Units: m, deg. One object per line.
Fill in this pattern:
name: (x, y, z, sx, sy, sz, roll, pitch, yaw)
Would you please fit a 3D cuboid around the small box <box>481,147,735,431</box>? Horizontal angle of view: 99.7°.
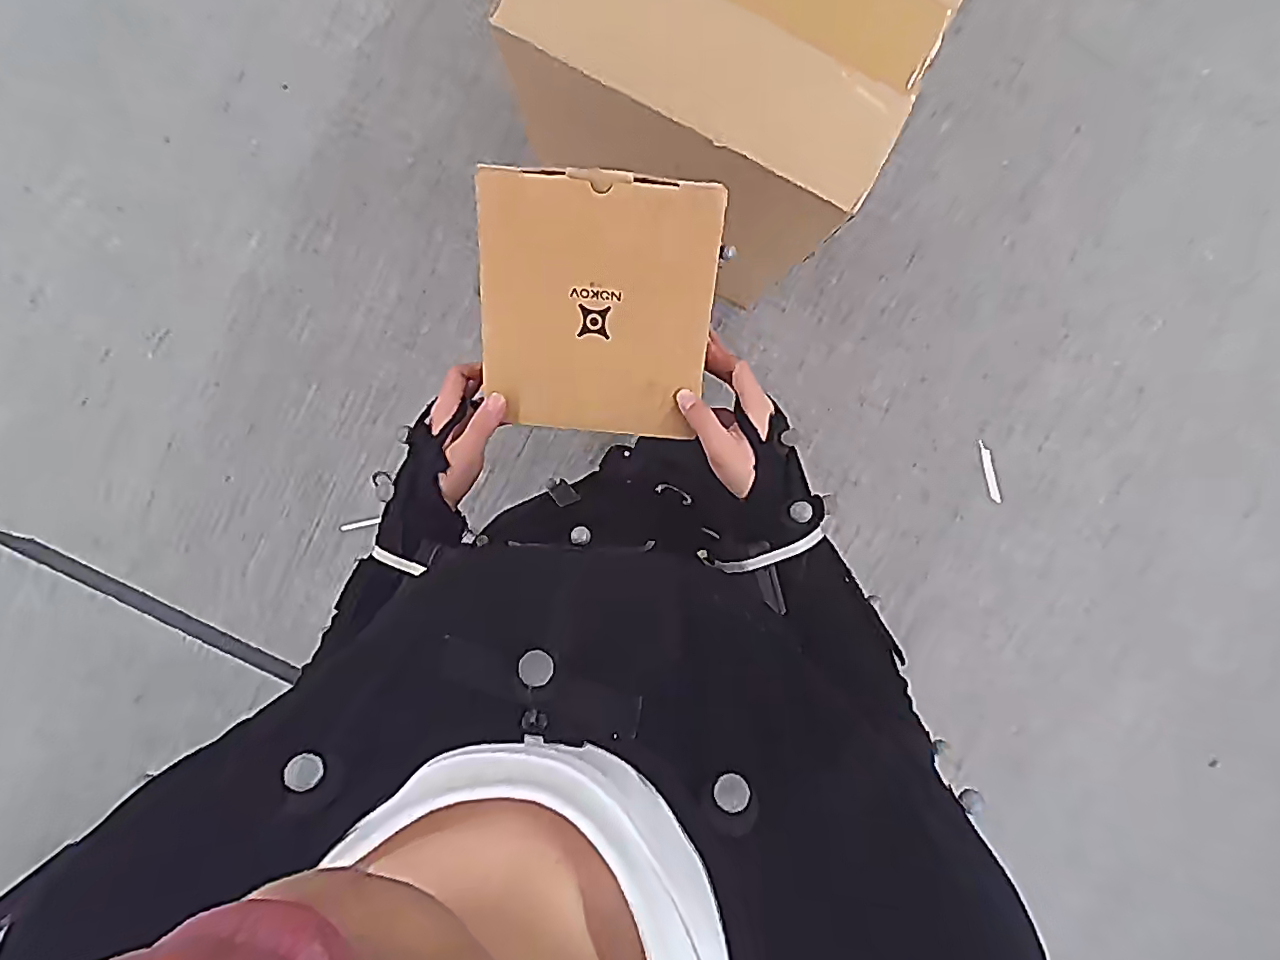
small box: (-0.022, -0.155, 0.446, 0.168, 0.176, 0.179, 5, 113, 1)
